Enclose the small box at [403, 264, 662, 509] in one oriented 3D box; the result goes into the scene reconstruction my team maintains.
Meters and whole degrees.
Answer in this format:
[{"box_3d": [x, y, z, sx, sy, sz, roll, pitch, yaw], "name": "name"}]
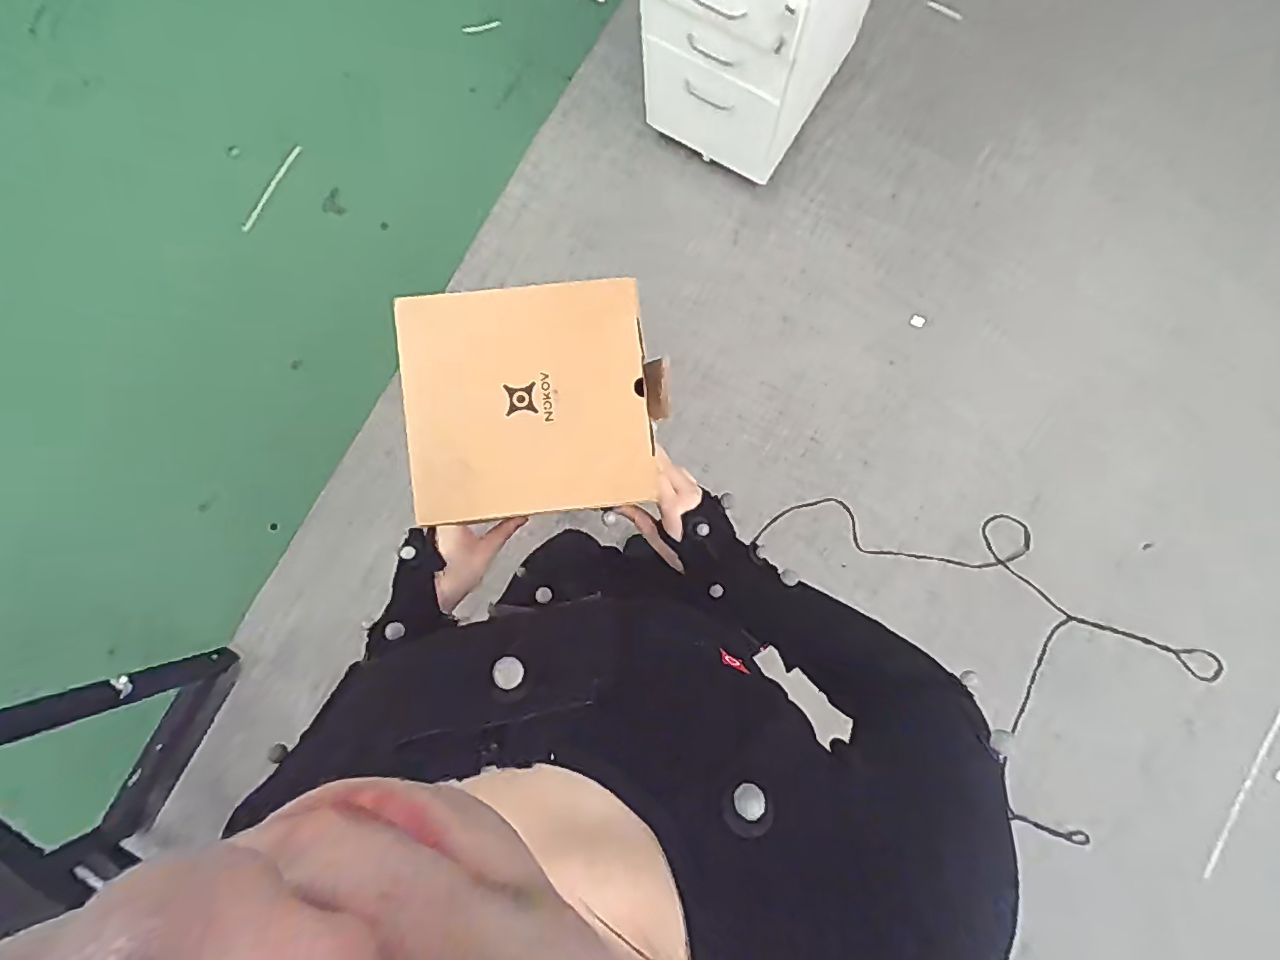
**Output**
[{"box_3d": [-0.081, -0.064, 0.467, 0.179, 0.176, 0.168, -6, 87, -4], "name": "small box"}]
